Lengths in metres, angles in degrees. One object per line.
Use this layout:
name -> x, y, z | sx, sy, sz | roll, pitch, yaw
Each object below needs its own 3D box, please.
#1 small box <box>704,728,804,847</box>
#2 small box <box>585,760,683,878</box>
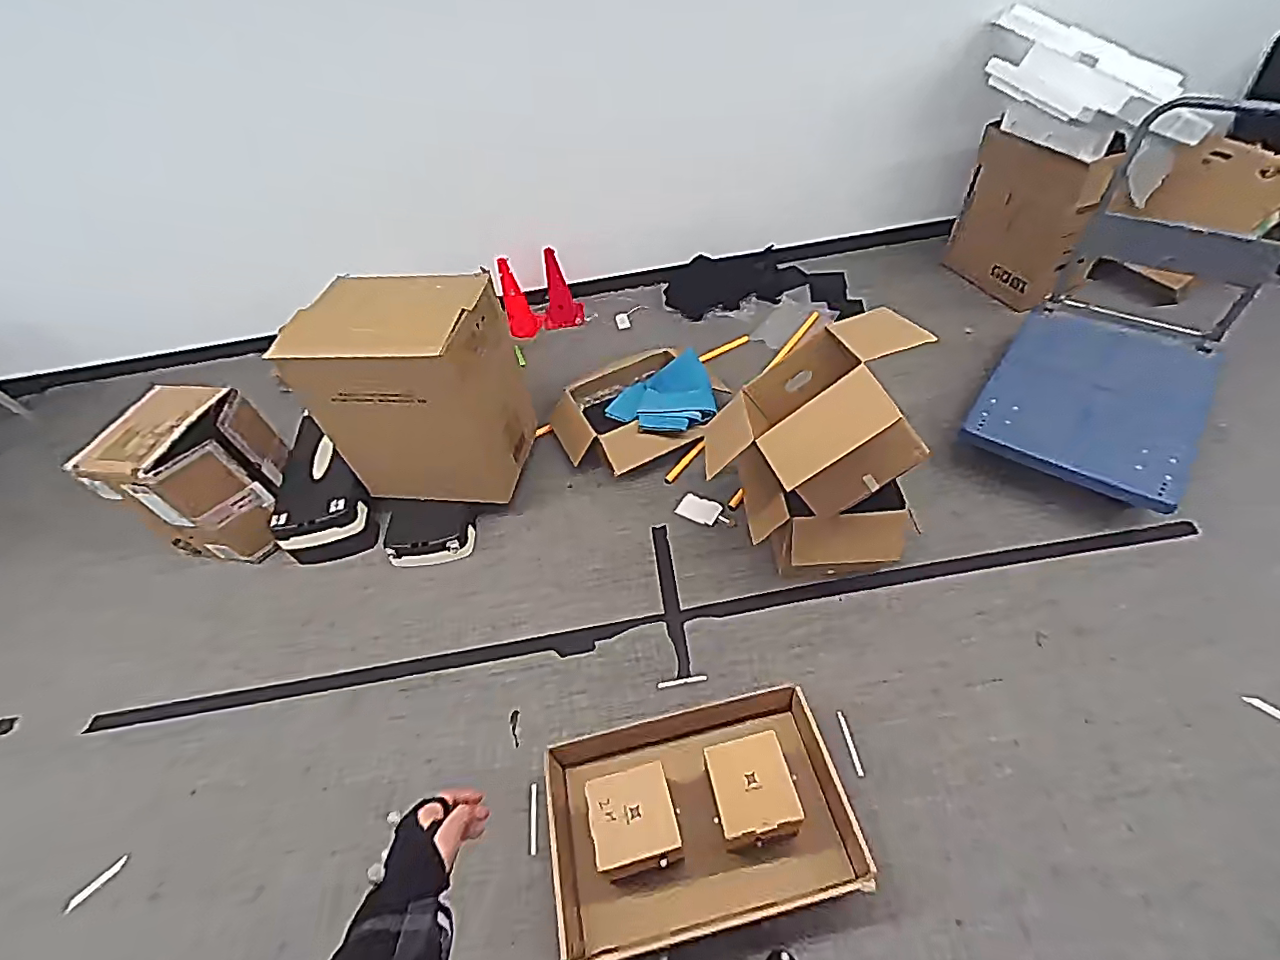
small box -> 0.242, 0.679, 1.192 | 0.168, 0.176, 0.179 | -14, 49, -3
small box -> -0.011, 0.737, 1.175 | 0.179, 0.176, 0.168 | -14, 48, -5
